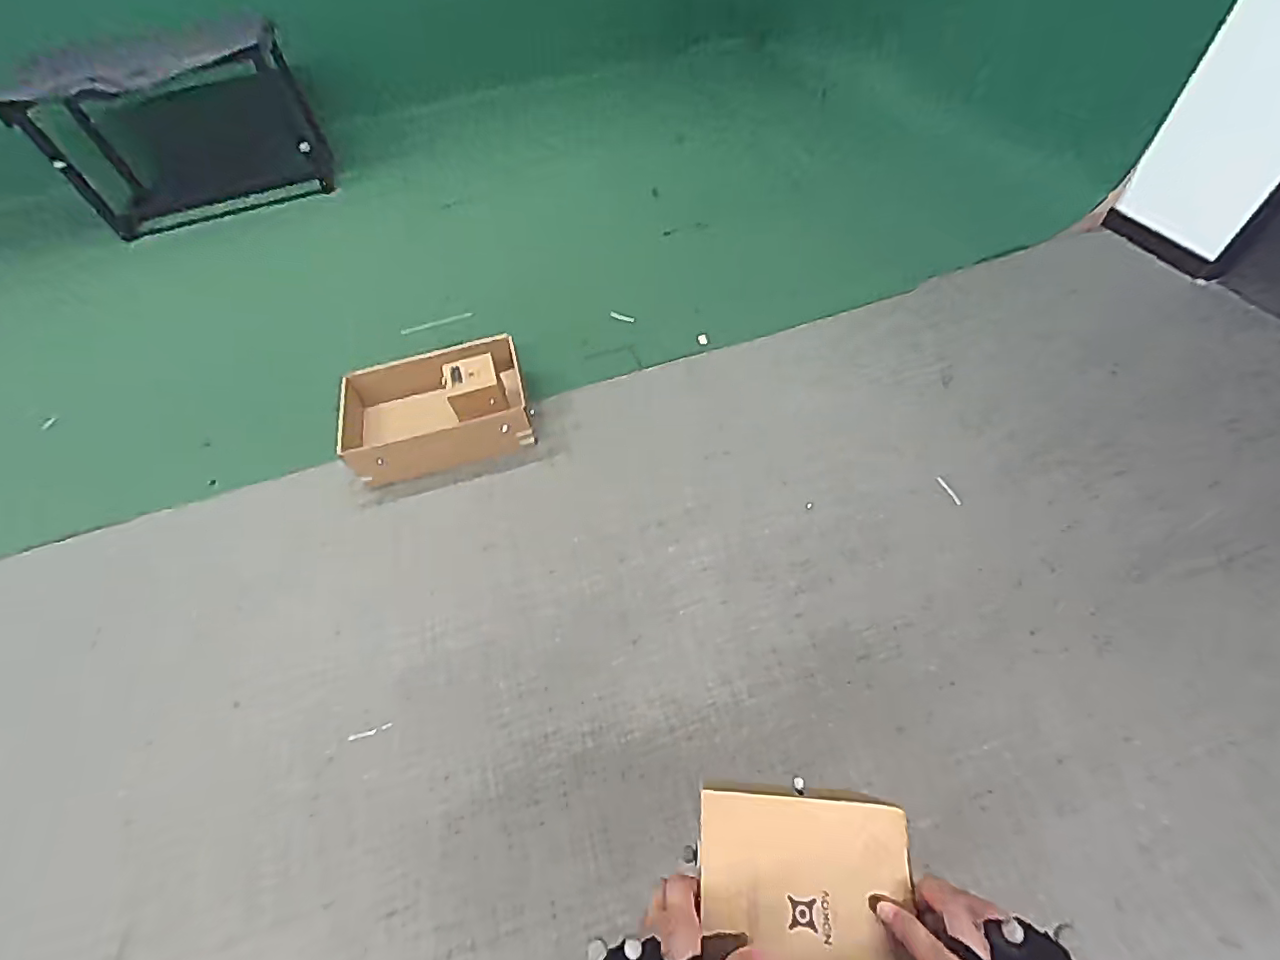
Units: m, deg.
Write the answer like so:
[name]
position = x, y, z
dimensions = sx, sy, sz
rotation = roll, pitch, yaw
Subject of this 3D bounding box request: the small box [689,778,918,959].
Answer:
[small box]
position = 0.136, 0.381, 0.505
dimensions = 0.179, 0.176, 0.168
rotation = 1, 64, 7
